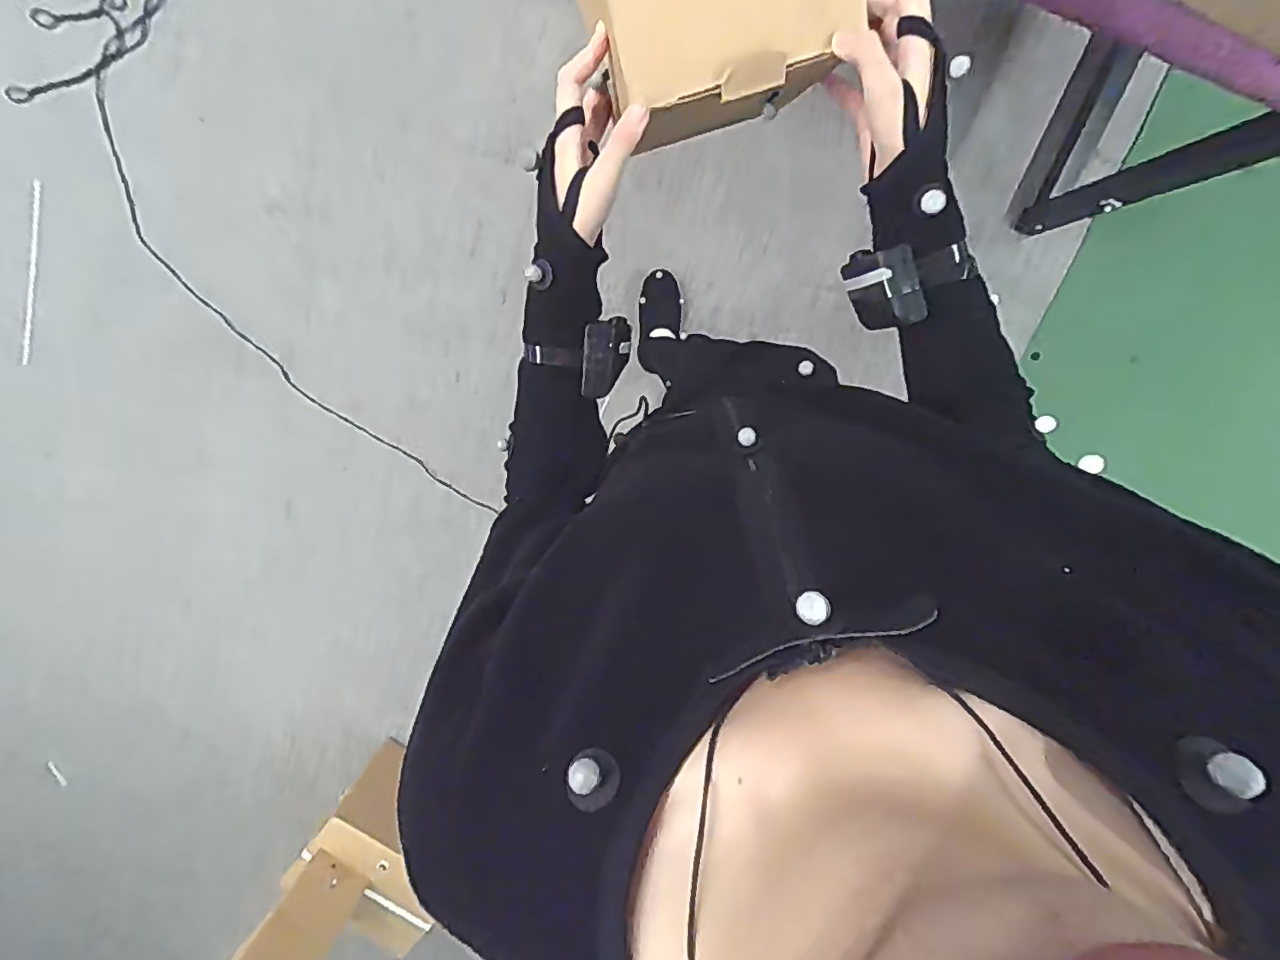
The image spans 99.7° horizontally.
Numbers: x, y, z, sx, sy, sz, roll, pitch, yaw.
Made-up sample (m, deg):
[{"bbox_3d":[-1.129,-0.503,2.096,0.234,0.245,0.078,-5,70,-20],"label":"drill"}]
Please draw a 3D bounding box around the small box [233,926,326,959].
[{"bbox_3d":[-0.852,1.148,1.201,0.179,0.176,0.168,40,101,-8],"label":"small box"}]

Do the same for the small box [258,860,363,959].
[{"bbox_3d":[-0.840,1.117,1.360,0.168,0.176,0.179,38,101,-7],"label":"small box"}]

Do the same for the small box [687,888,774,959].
[{"bbox_3d":[0.218,1.170,1.352,0.179,0.176,0.168,11,102,-1],"label":"small box"}]
